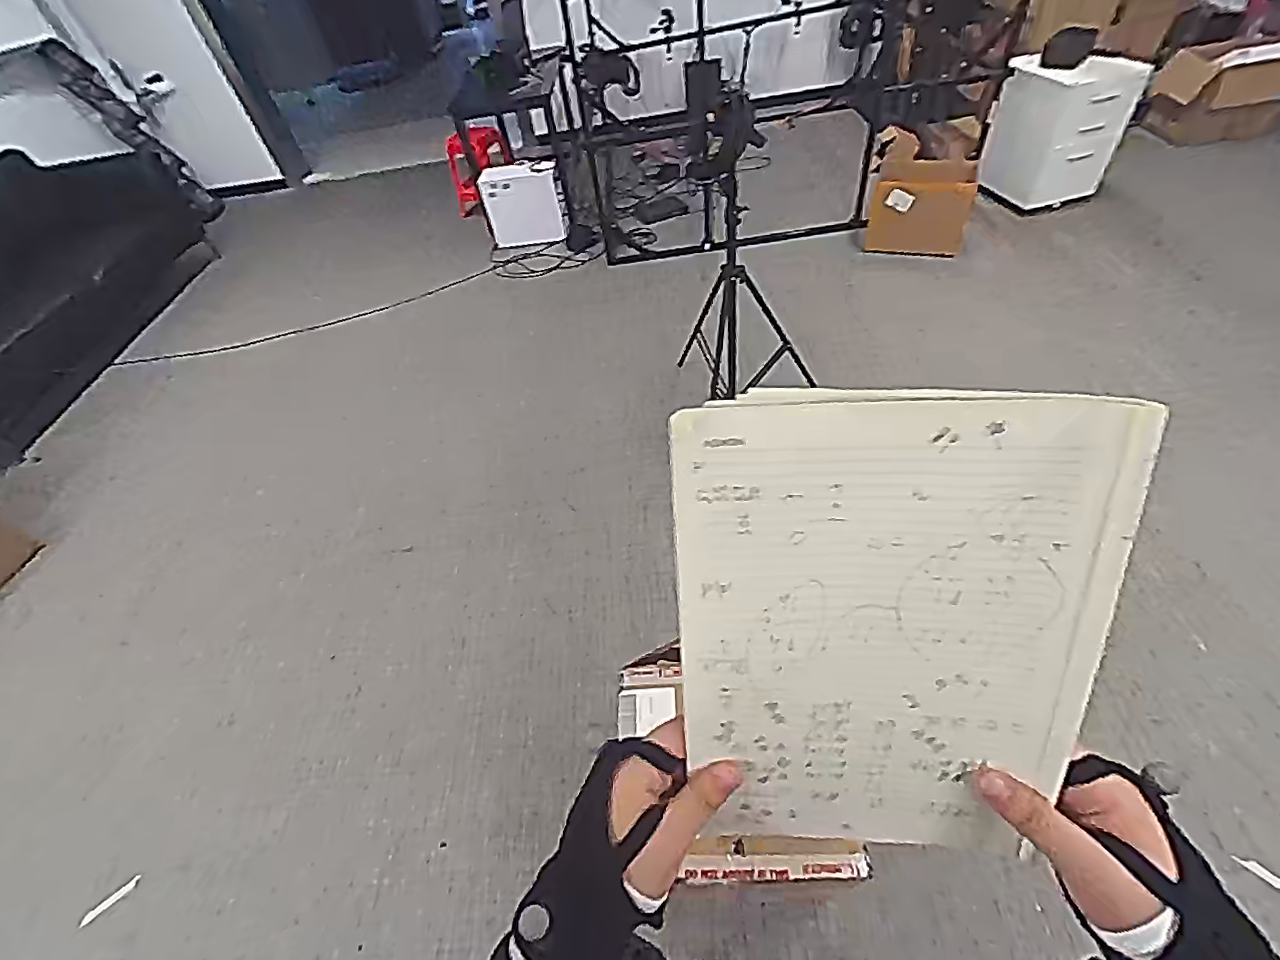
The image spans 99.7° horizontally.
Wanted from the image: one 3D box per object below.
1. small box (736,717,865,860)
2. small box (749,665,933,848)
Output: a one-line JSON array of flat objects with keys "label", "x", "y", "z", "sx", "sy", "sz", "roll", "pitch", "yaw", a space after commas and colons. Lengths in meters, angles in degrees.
[{"label": "small box", "x": 0.247, "y": 0.460, "z": 0.814, "sx": 0.179, "sy": 0.176, "sz": 0.168, "roll": -7, "pitch": 49, "yaw": 2}, {"label": "small box", "x": 0.235, "y": 0.354, "z": 0.688, "sx": 0.168, "sy": 0.176, "sz": 0.179, "roll": -4, "pitch": 50, "yaw": 4}]
